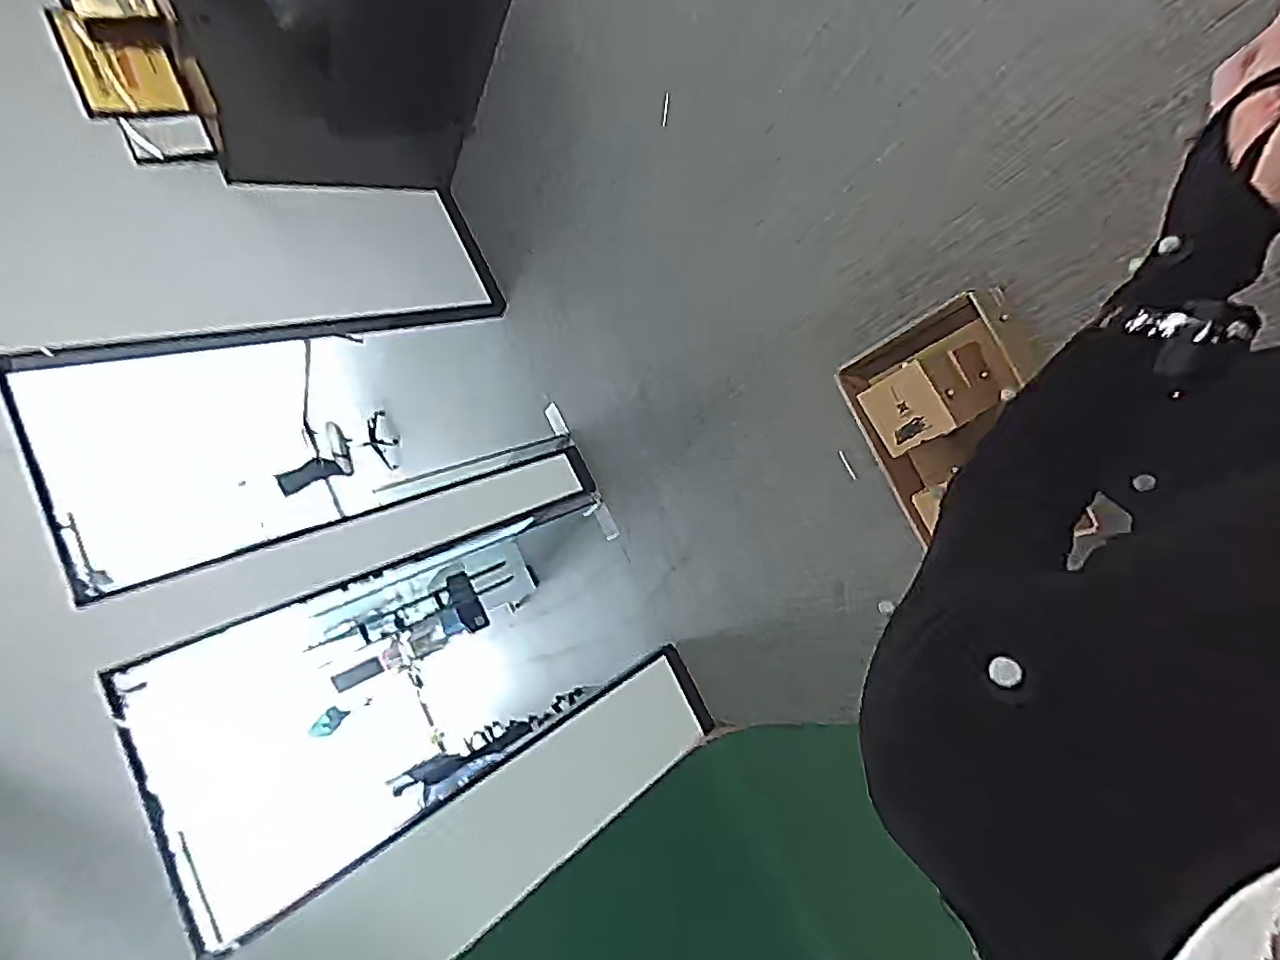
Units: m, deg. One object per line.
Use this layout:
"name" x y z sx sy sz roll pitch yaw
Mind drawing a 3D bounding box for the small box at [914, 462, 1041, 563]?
"small box" 0.784 0.069 1.256 0.168 0.176 0.179 -35 78 52

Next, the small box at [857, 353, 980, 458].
"small box" 0.664 -0.179 1.284 0.168 0.176 0.179 -37 77 50
